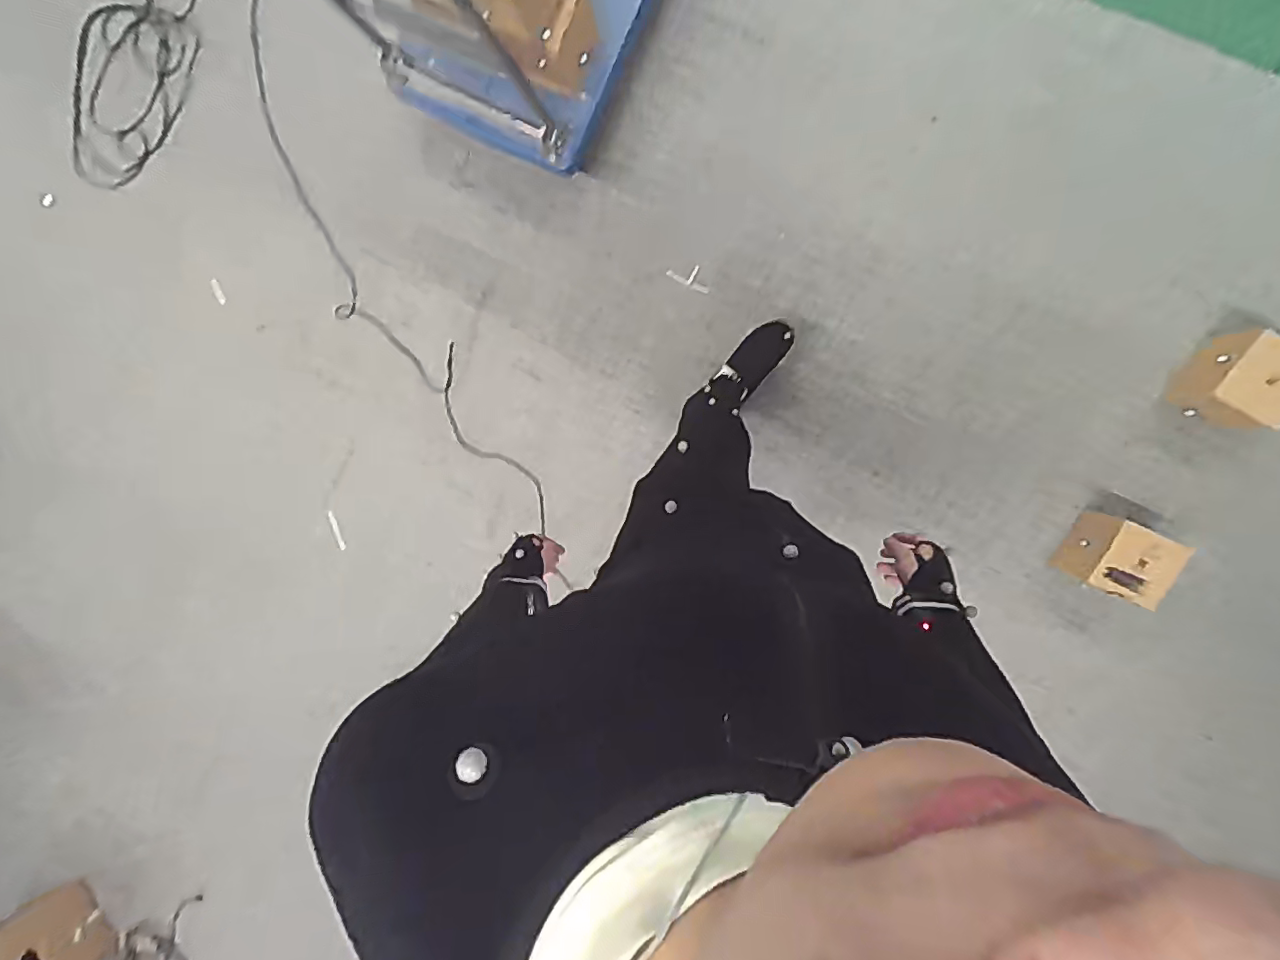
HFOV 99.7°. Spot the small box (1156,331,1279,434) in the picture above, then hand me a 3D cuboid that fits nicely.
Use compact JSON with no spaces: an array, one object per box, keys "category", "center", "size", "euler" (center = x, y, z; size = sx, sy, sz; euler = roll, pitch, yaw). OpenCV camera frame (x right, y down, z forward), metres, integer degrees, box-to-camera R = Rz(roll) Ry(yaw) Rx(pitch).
[{"category":"small box","center":[1.417,-0.228,1.296],"size":[0.168,0.176,0.179],"euler":[34,100,4]}]

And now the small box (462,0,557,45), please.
[{"category":"small box","center":[-0.277,-1.059,1.119],"size":[0.179,0.176,0.168],"euler":[29,99,6]}]

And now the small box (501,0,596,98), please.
[{"category":"small box","center":[-0.230,-1.068,1.286],"size":[0.179,0.176,0.168],"euler":[-32,92,12]}]
